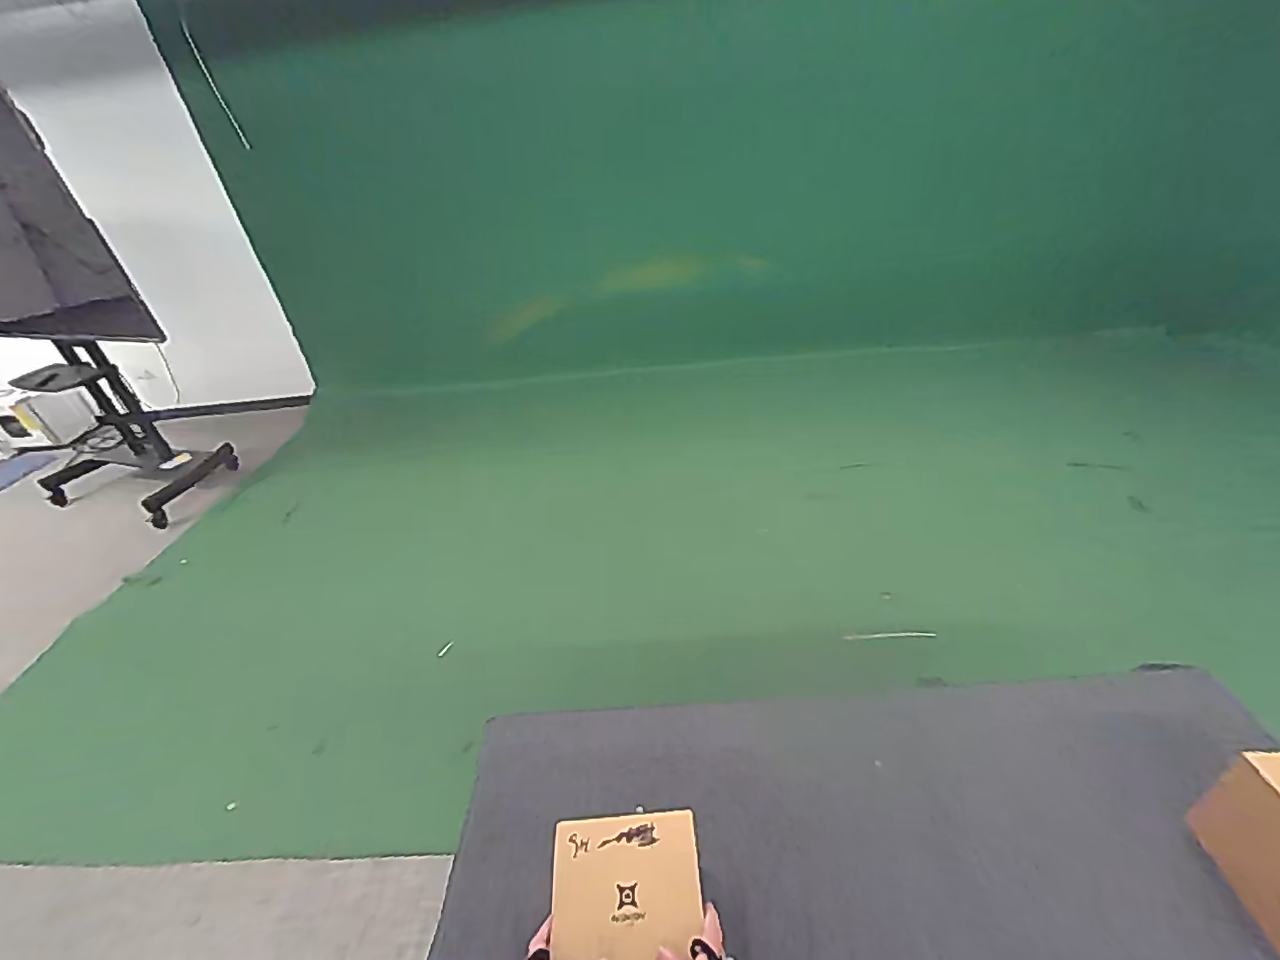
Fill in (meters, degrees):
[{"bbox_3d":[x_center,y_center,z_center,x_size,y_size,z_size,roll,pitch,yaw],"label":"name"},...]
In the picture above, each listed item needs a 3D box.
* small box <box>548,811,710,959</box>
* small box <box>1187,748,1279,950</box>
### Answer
[{"bbox_3d":[-0.007,0.515,0.628,0.168,0.176,0.179,-6,42,1],"label":"small box"},{"bbox_3d":[0.797,0.430,0.608,0.168,0.176,0.179,-3,33,5],"label":"small box"}]
